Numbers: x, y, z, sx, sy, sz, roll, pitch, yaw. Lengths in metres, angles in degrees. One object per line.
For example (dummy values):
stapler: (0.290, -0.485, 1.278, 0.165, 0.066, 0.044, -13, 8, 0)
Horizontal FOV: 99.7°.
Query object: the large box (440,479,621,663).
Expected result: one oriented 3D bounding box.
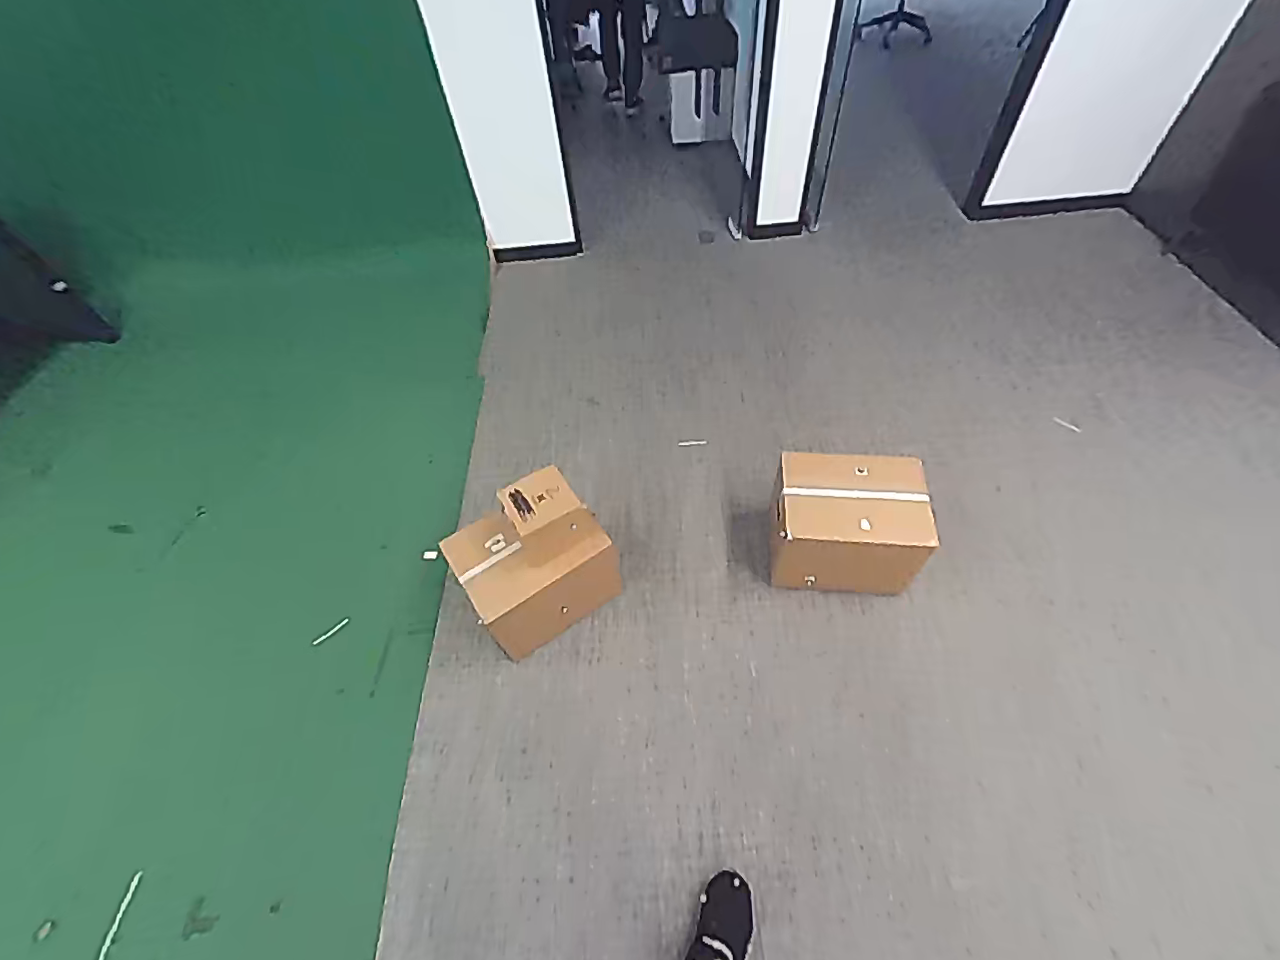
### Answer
large box: (-0.316, 0.276, 1.645, 0.408, 0.320, 0.320, -32, 56, -17)
